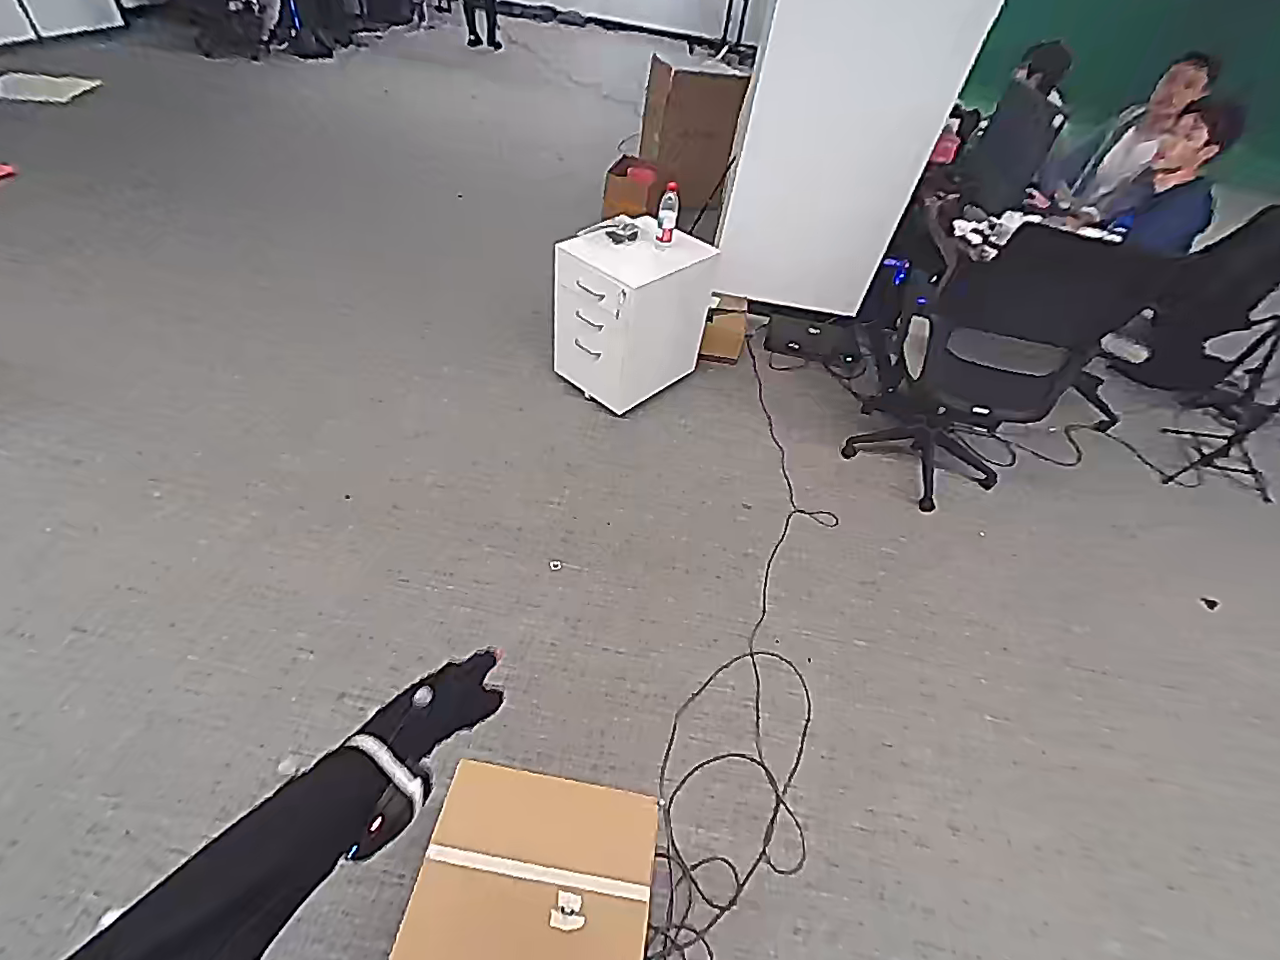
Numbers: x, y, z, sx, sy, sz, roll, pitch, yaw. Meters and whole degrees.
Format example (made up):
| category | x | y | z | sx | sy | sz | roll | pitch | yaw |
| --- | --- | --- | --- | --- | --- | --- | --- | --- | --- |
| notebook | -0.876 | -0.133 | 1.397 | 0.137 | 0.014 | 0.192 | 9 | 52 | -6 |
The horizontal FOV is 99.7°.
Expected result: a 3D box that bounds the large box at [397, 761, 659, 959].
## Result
| category | x | y | z | sx | sy | sz | roll | pitch | yaw |
| --- | --- | --- | --- | --- | --- | --- | --- | --- | --- |
| large box | -0.196 | 0.802 | 1.072 | 0.408 | 0.320 | 0.320 | 11 | 46 | 1 |
